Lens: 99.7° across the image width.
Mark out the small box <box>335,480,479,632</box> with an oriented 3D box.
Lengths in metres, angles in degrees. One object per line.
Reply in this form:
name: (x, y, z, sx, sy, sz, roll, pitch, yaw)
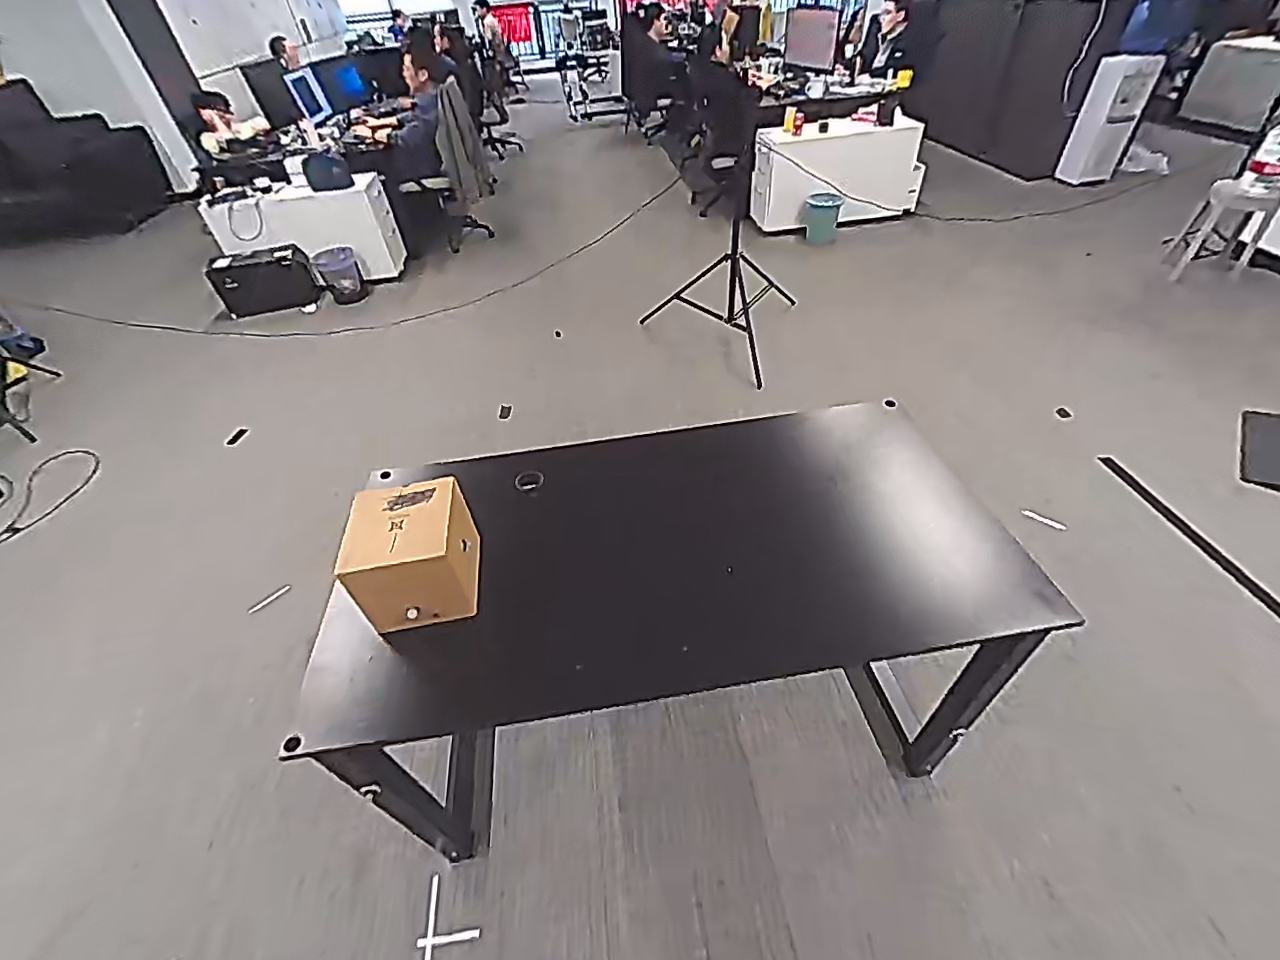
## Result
small box: (-0.378, 0.129, 0.915, 0.168, 0.176, 0.179, -10, 45, -4)
